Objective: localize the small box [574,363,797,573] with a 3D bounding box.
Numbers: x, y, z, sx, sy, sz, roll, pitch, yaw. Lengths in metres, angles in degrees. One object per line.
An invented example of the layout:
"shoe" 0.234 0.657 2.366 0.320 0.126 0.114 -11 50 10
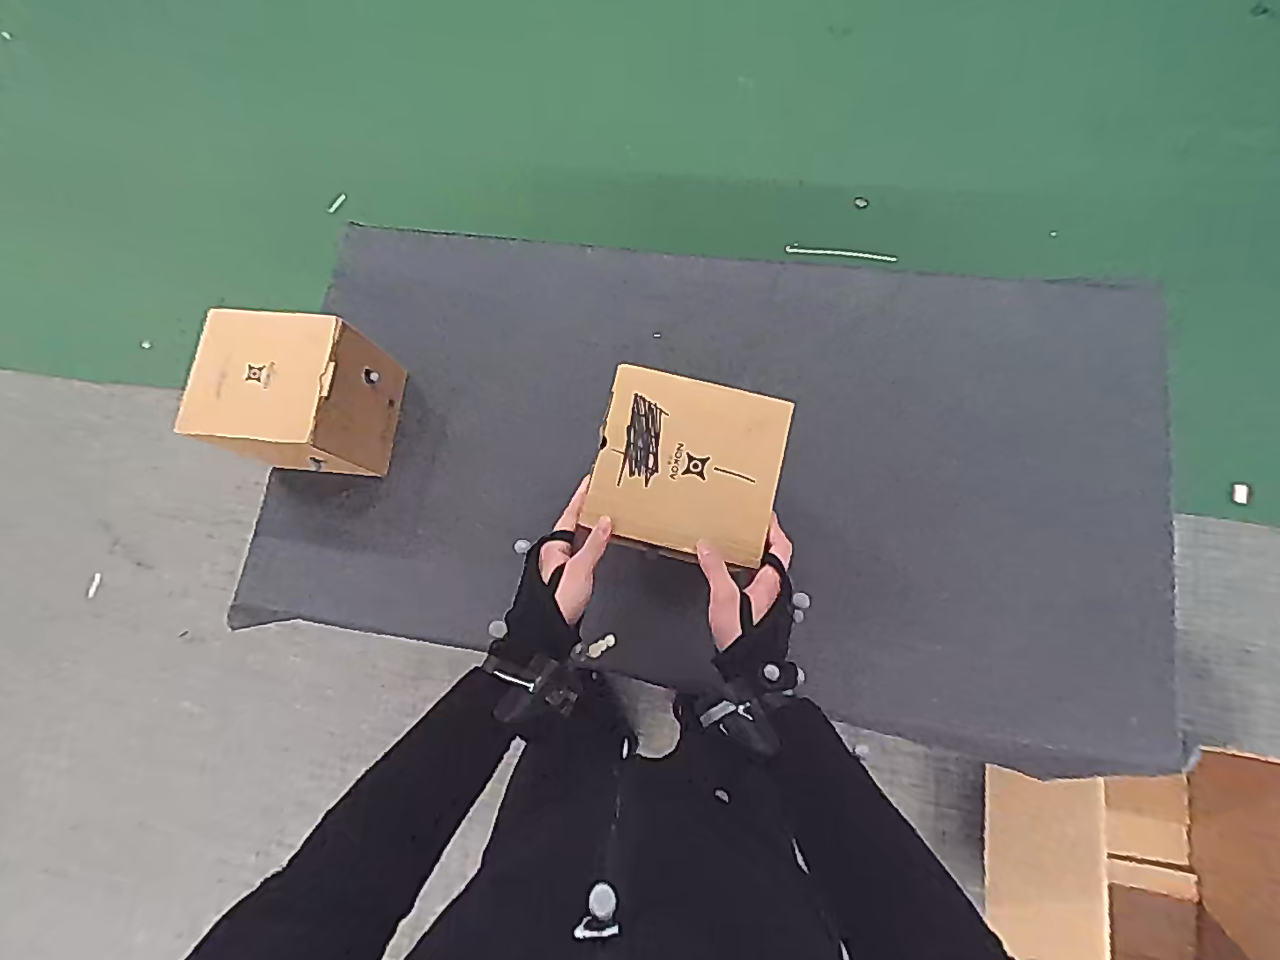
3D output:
"small box" 0.046 -0.002 0.588 0.179 0.176 0.168 17 83 4

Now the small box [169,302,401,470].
"small box" -0.446 -0.114 0.712 0.179 0.176 0.168 4 77 7
